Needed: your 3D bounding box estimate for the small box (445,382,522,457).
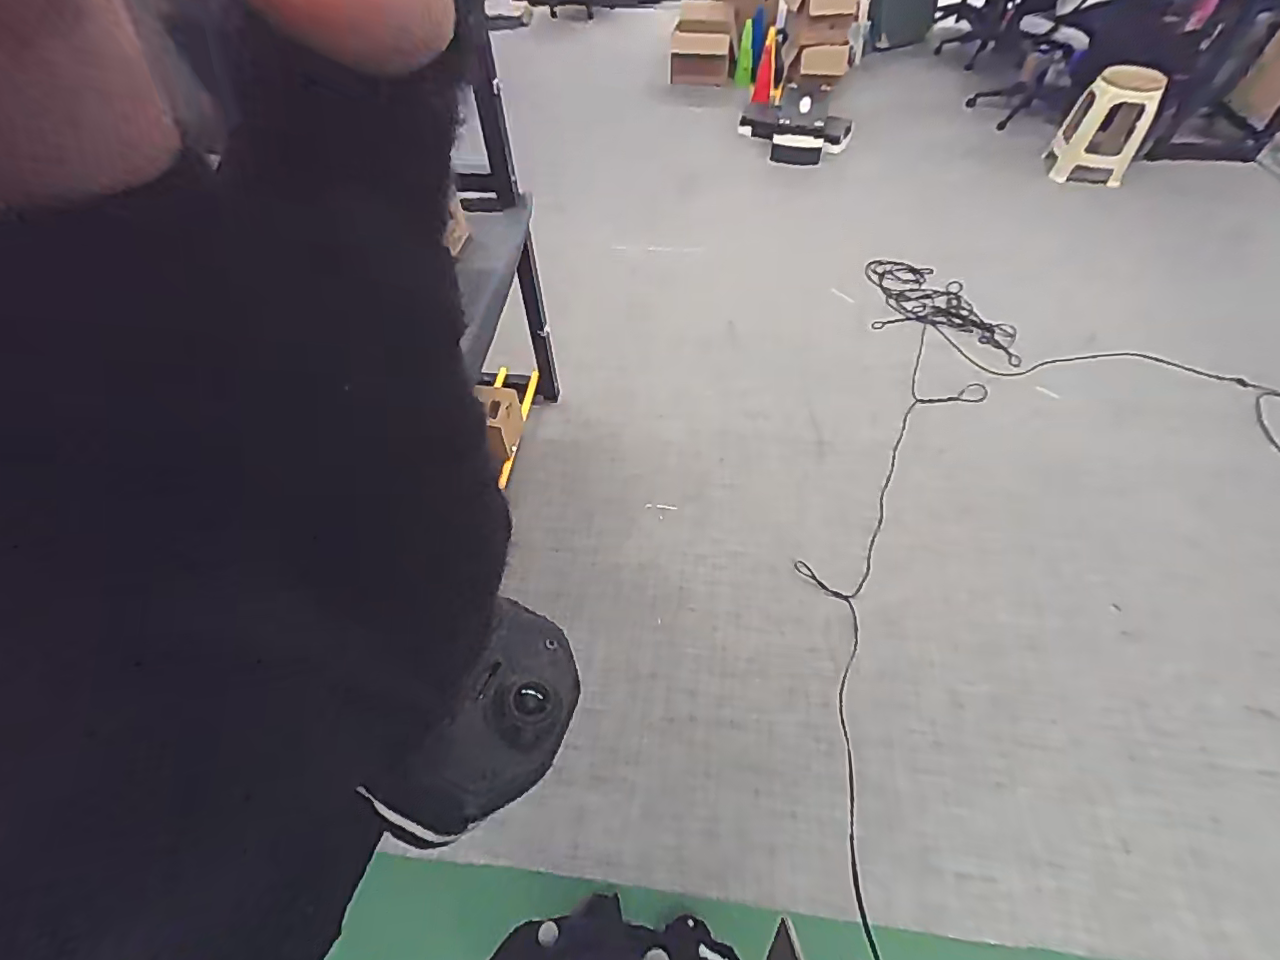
[{"bbox_3d":[-0.494,-0.190,1.740,0.179,0.176,0.168,7,54,6],"label":"small box"}]
